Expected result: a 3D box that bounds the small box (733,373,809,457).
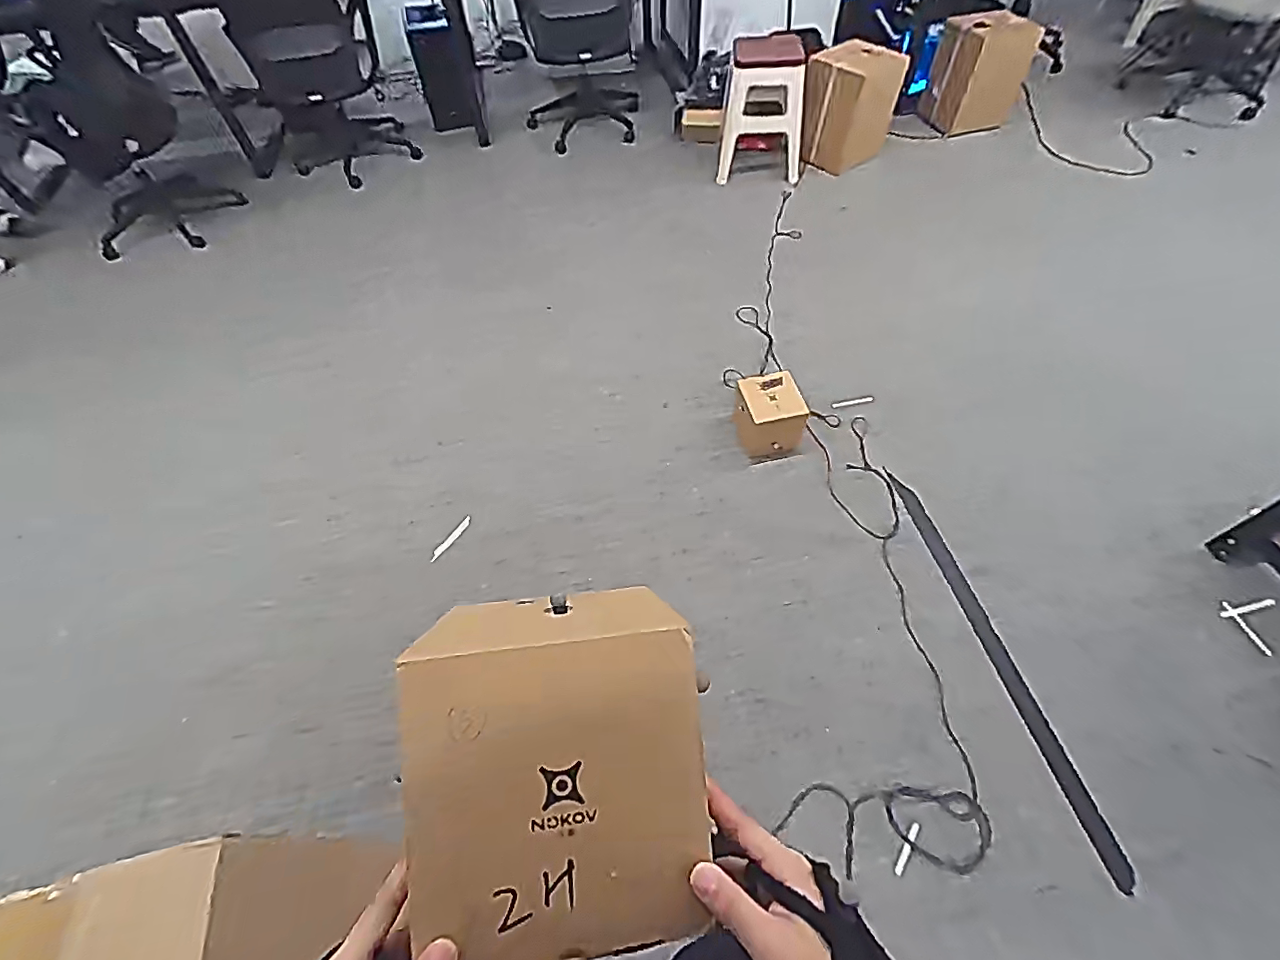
[{"bbox_3d":[0.390,-0.196,1.652,0.168,0.176,0.179,-12,56,-5],"label":"small box"}]
